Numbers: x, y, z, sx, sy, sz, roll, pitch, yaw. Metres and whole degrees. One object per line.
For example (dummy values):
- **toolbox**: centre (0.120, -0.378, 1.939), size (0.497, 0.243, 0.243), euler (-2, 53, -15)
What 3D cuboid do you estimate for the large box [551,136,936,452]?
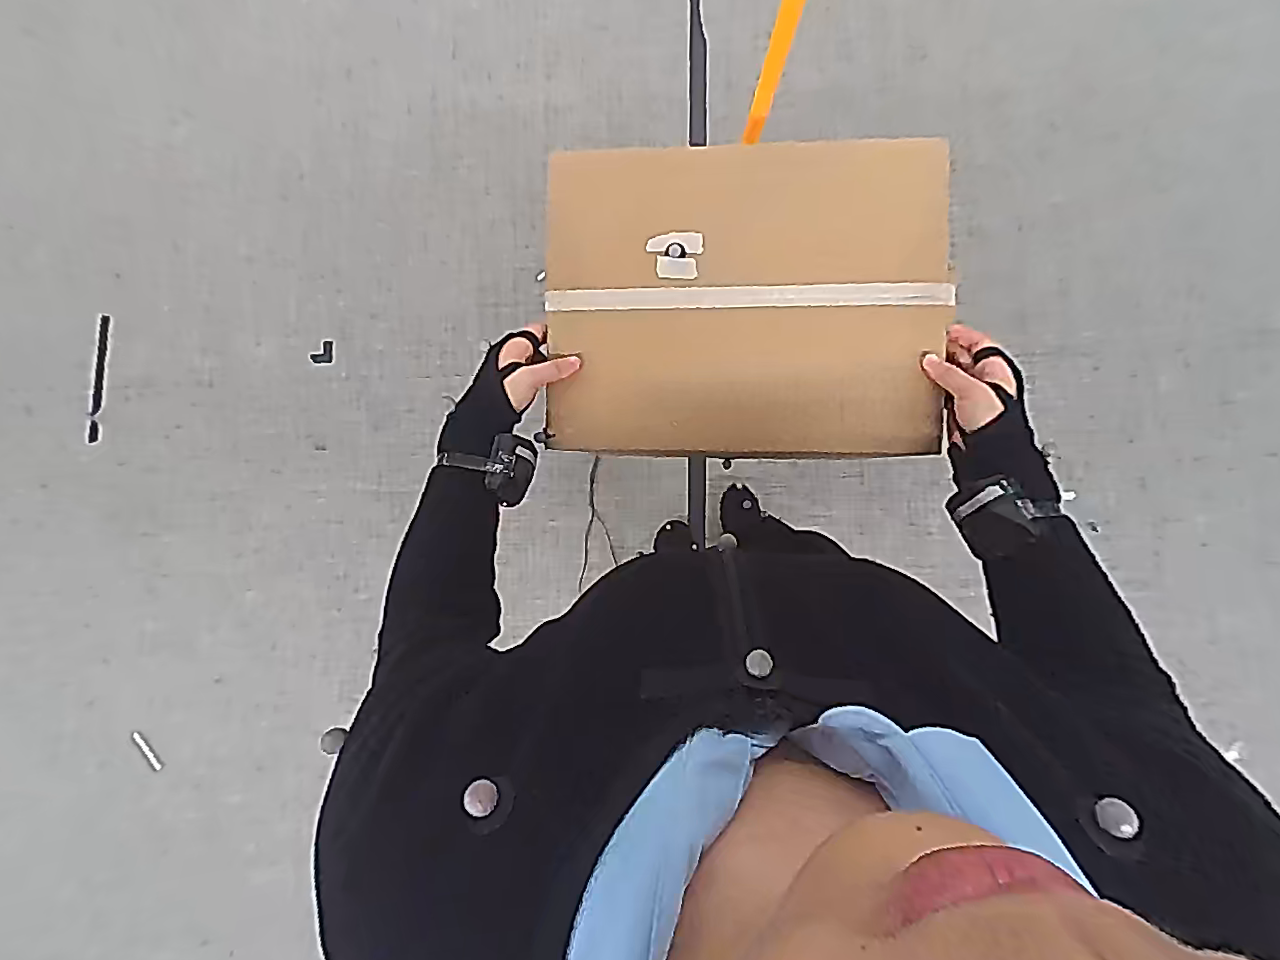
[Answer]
- **large box**: centre (0.119, -0.194, 0.713), size (0.408, 0.320, 0.320), euler (1, 90, 7)
